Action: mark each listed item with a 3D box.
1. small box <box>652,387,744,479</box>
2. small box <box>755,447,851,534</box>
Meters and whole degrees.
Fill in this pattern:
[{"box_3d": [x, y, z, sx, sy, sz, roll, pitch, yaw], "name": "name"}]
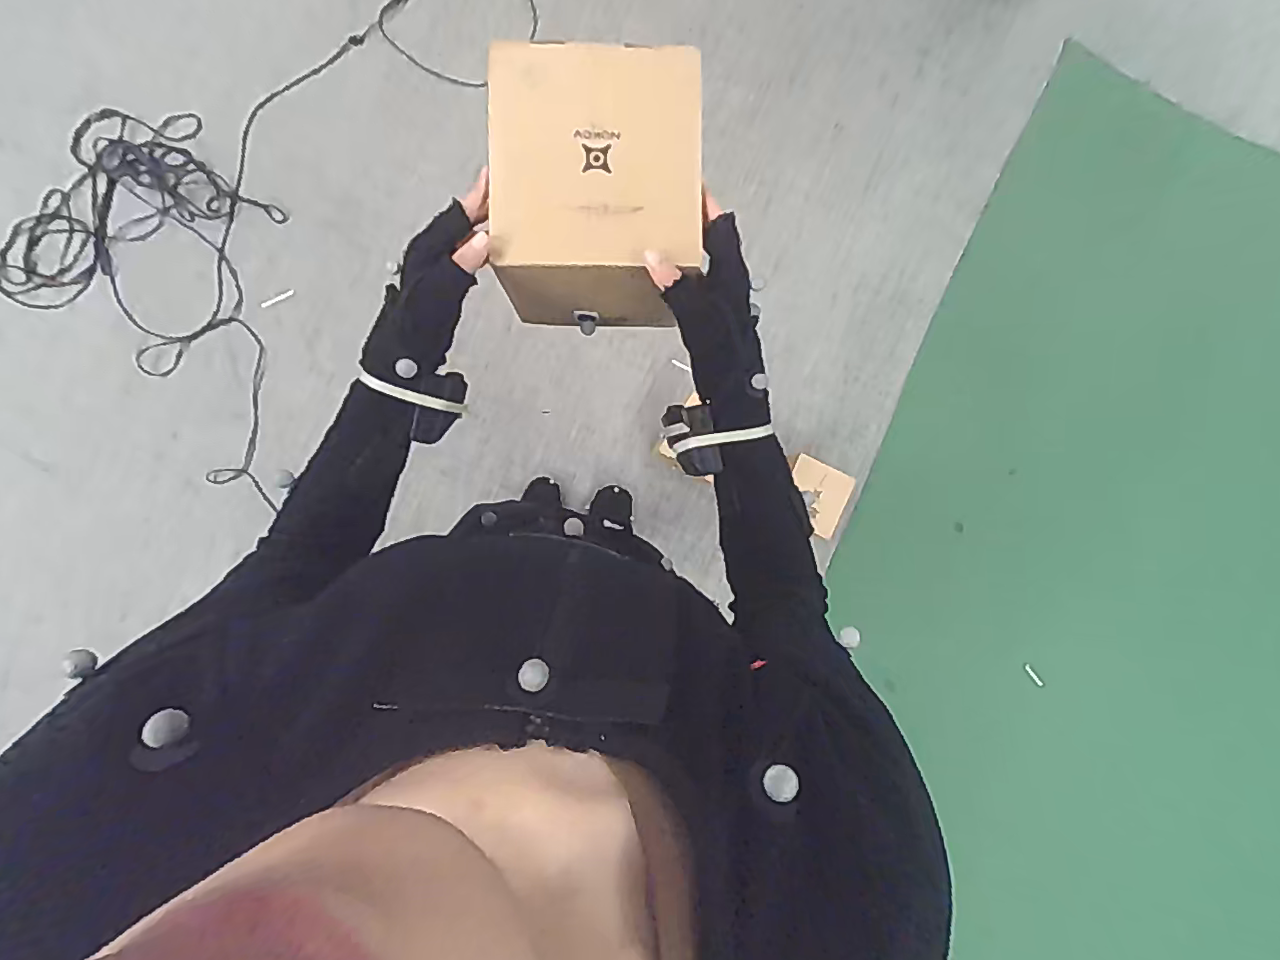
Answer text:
[{"box_3d": [0.145, -0.119, 1.427, 0.168, 0.176, 0.179, 30, 88, -4], "name": "small box"}, {"box_3d": [0.427, 0.028, 1.452, 0.168, 0.176, 0.179, 25, 87, -4], "name": "small box"}]
